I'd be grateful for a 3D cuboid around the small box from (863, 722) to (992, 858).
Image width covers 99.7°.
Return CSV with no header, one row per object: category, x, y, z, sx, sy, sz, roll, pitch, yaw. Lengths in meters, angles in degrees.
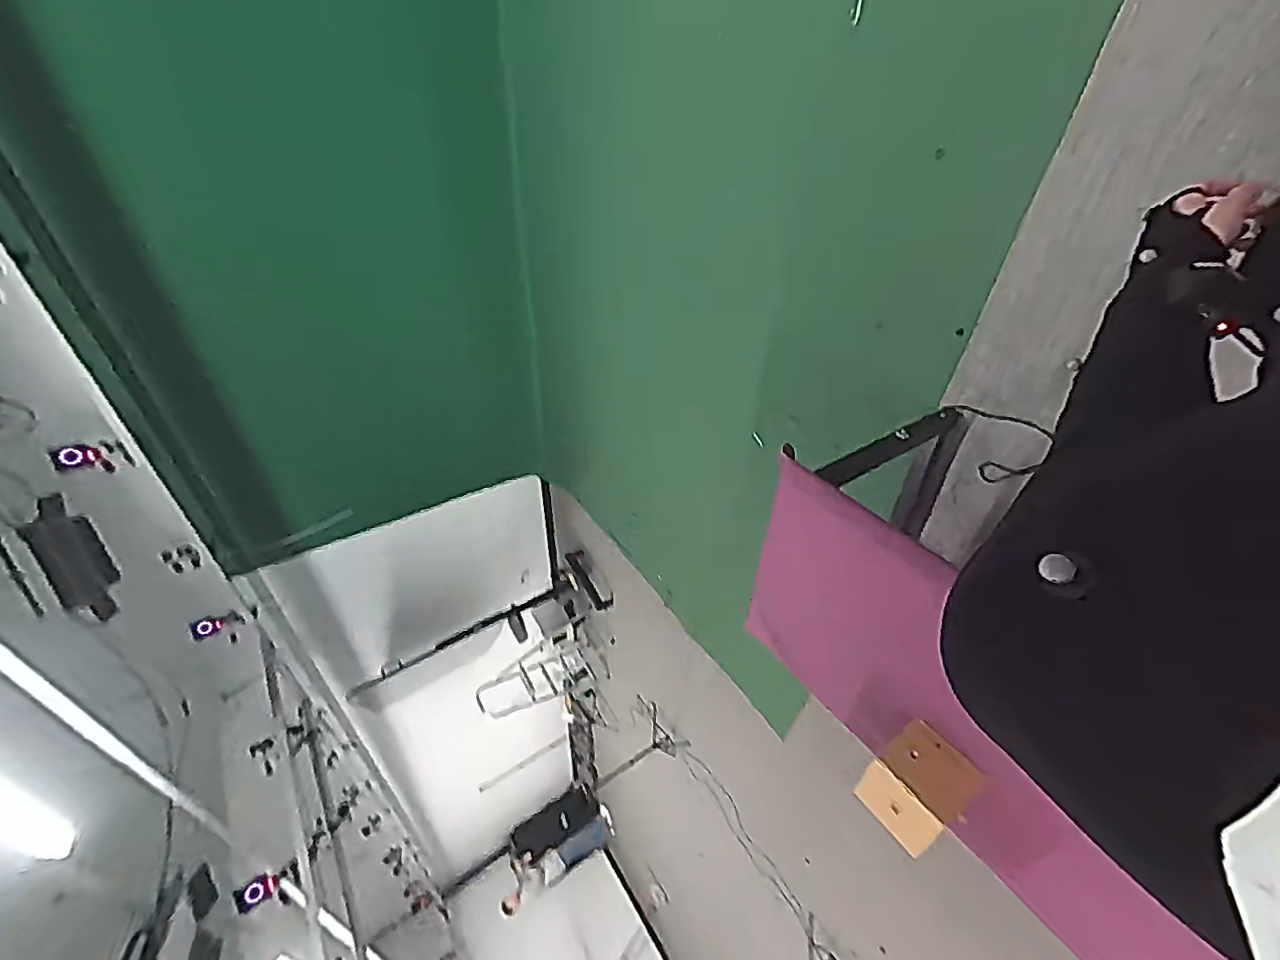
small box,0.634,0.677,1.194,0.168,0.176,0.179,43,144,41
